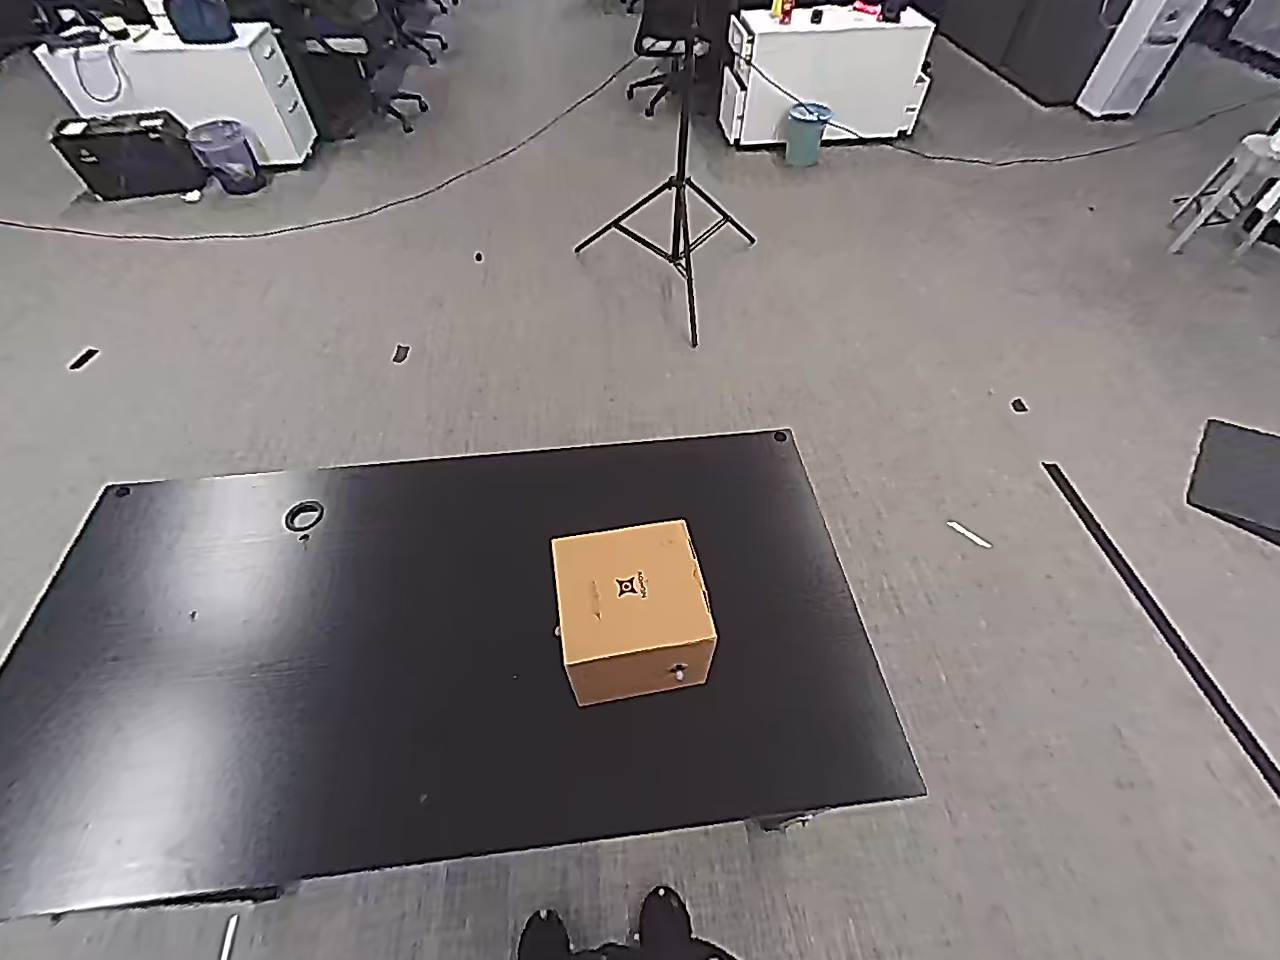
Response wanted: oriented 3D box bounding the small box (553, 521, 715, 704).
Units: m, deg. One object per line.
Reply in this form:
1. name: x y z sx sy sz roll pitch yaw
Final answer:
1. small box: -0.012 0.177 0.714 0.179 0.176 0.168 -10 52 -5
